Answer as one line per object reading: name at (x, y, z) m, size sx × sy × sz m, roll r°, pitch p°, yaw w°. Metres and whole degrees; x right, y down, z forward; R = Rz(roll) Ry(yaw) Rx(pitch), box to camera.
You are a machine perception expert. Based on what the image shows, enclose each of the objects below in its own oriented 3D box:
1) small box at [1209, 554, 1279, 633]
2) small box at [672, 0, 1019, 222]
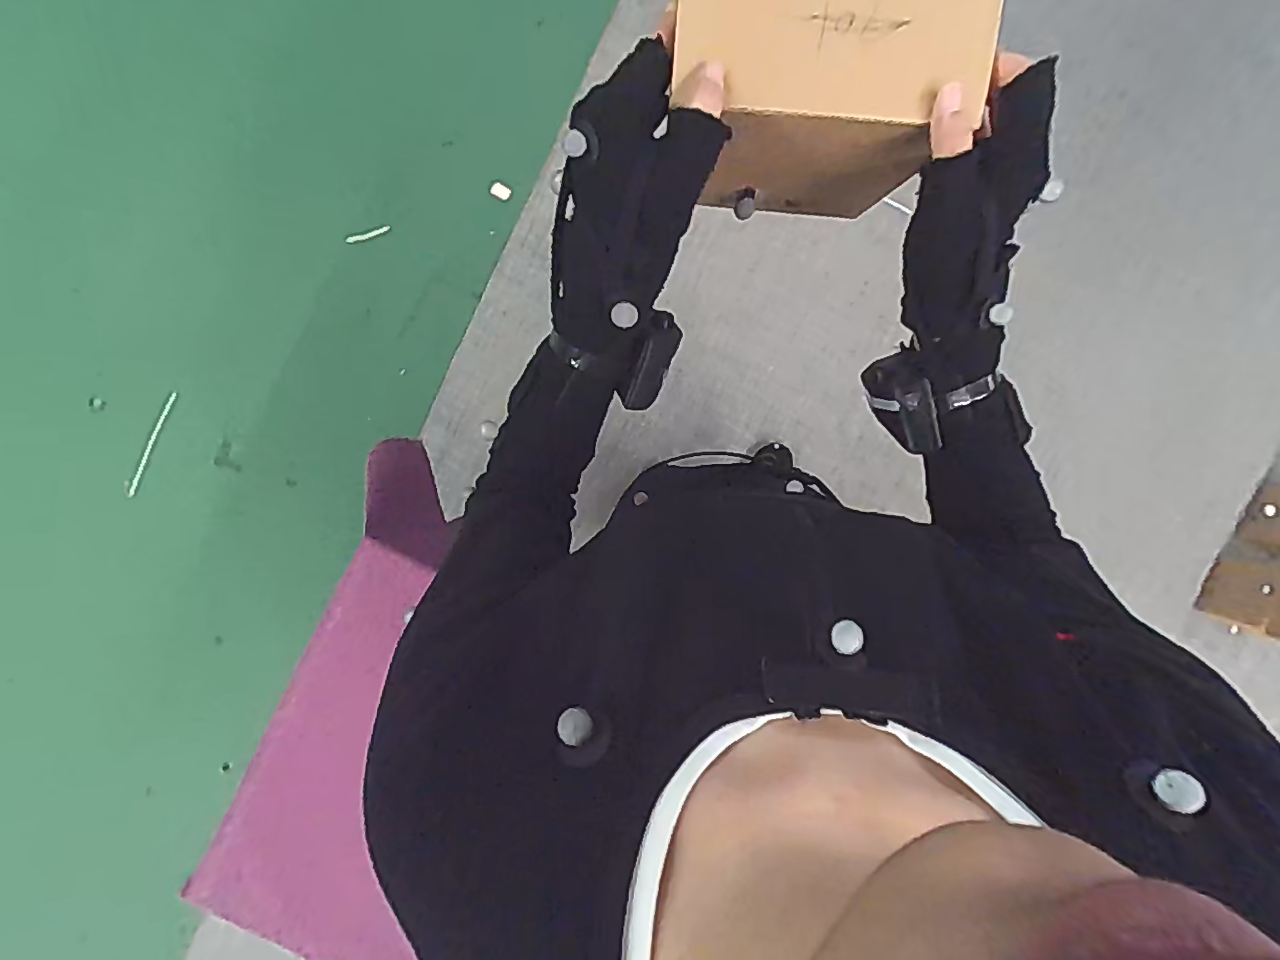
small box at (1.663, 0.305, 1.396) m, size 0.179 × 0.176 × 0.168 m, roll 24°, pitch 93°, yaw -2°
small box at (0.111, -0.287, 0.345) m, size 0.168 × 0.176 × 0.179 m, roll 5°, pitch 101°, yaw 0°
